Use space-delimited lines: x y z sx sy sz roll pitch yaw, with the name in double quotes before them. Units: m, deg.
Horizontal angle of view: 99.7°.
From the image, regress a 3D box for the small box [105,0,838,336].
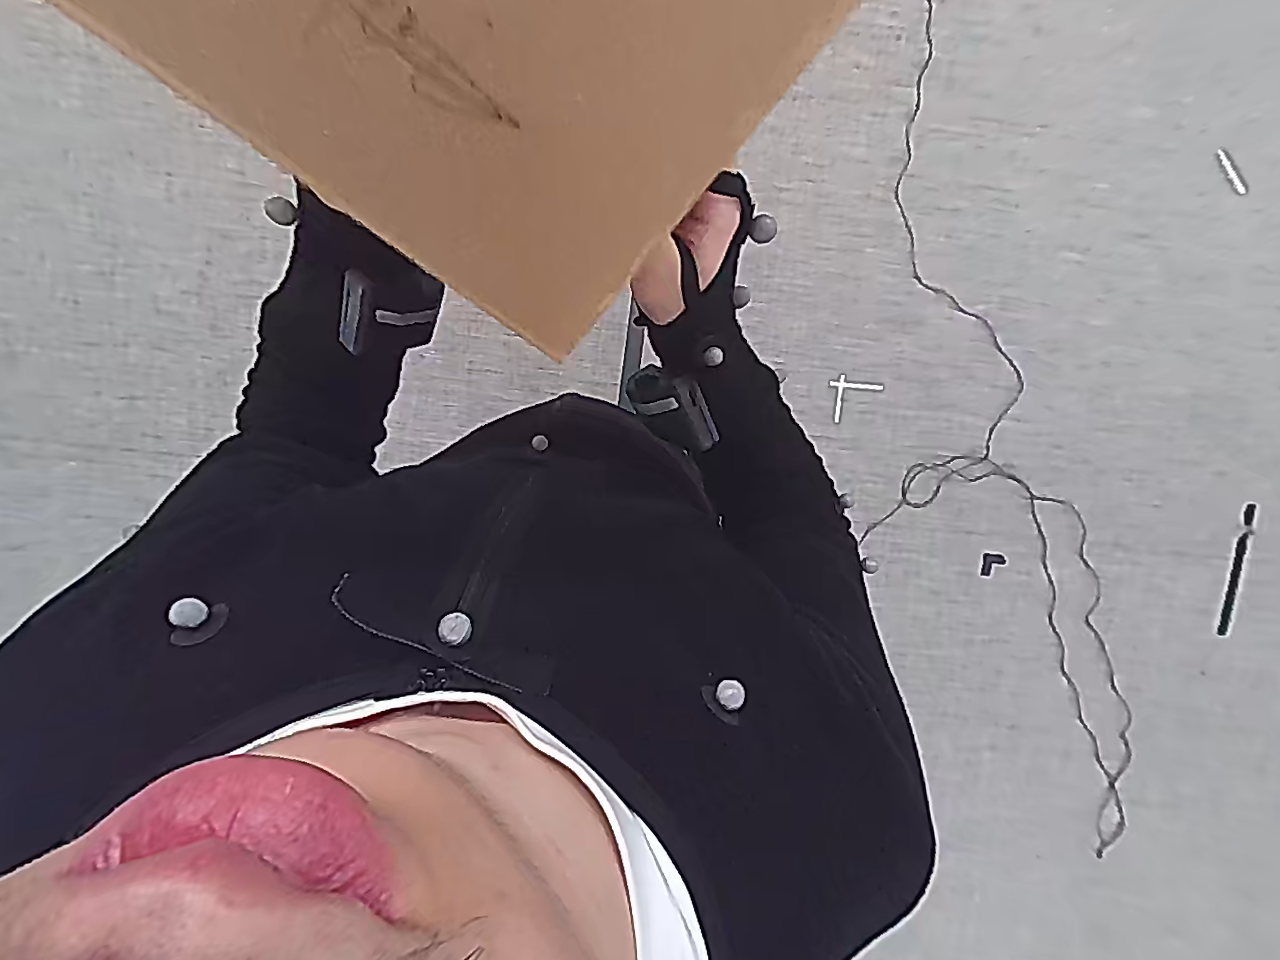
"small box" -0.038 -0.189 0.177 0.168 0.176 0.179 34 116 -25
